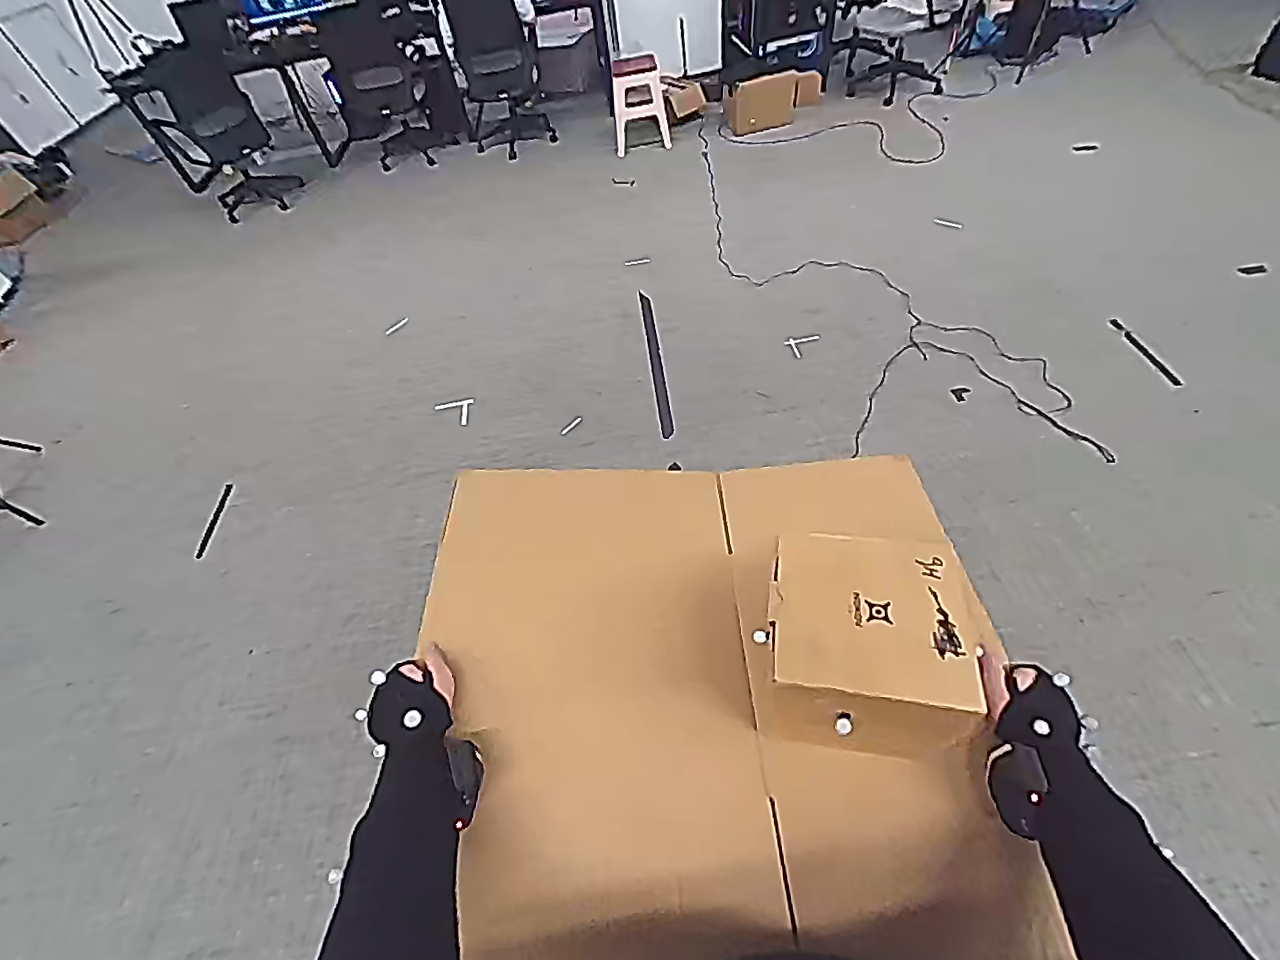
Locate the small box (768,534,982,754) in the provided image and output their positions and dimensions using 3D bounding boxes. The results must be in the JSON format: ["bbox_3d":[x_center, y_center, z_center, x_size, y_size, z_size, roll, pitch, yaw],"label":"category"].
[{"bbox_3d":[0.232,0.177,0.582,0.179,0.176,0.168,3,51,13],"label":"small box"}]
